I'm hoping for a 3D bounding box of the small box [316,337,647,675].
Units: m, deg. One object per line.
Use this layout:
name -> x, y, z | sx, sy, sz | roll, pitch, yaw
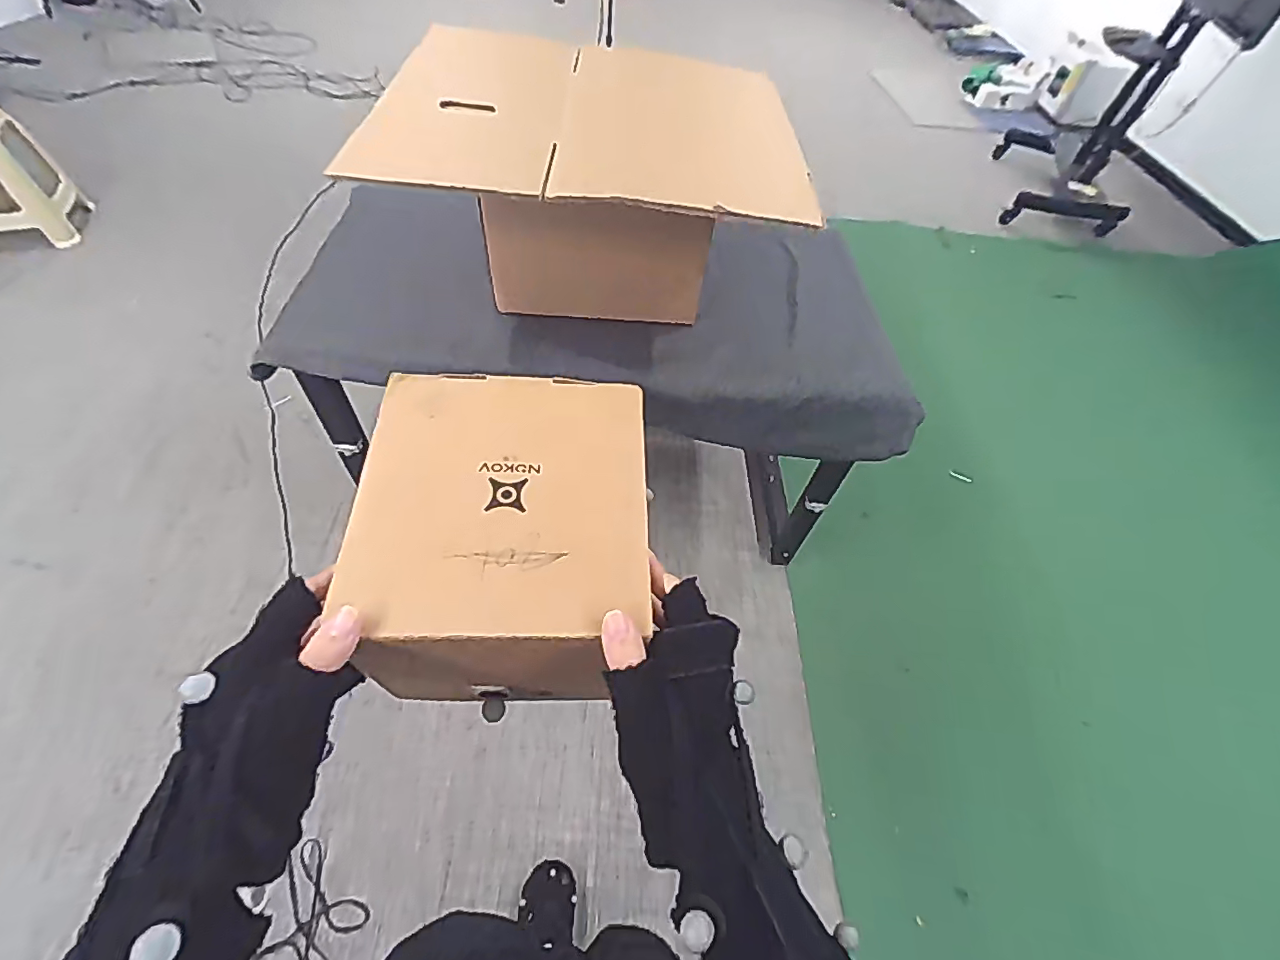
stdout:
small box -> -0.088, 0.027, 0.381 | 0.168, 0.176, 0.179 | 2, 58, -7
